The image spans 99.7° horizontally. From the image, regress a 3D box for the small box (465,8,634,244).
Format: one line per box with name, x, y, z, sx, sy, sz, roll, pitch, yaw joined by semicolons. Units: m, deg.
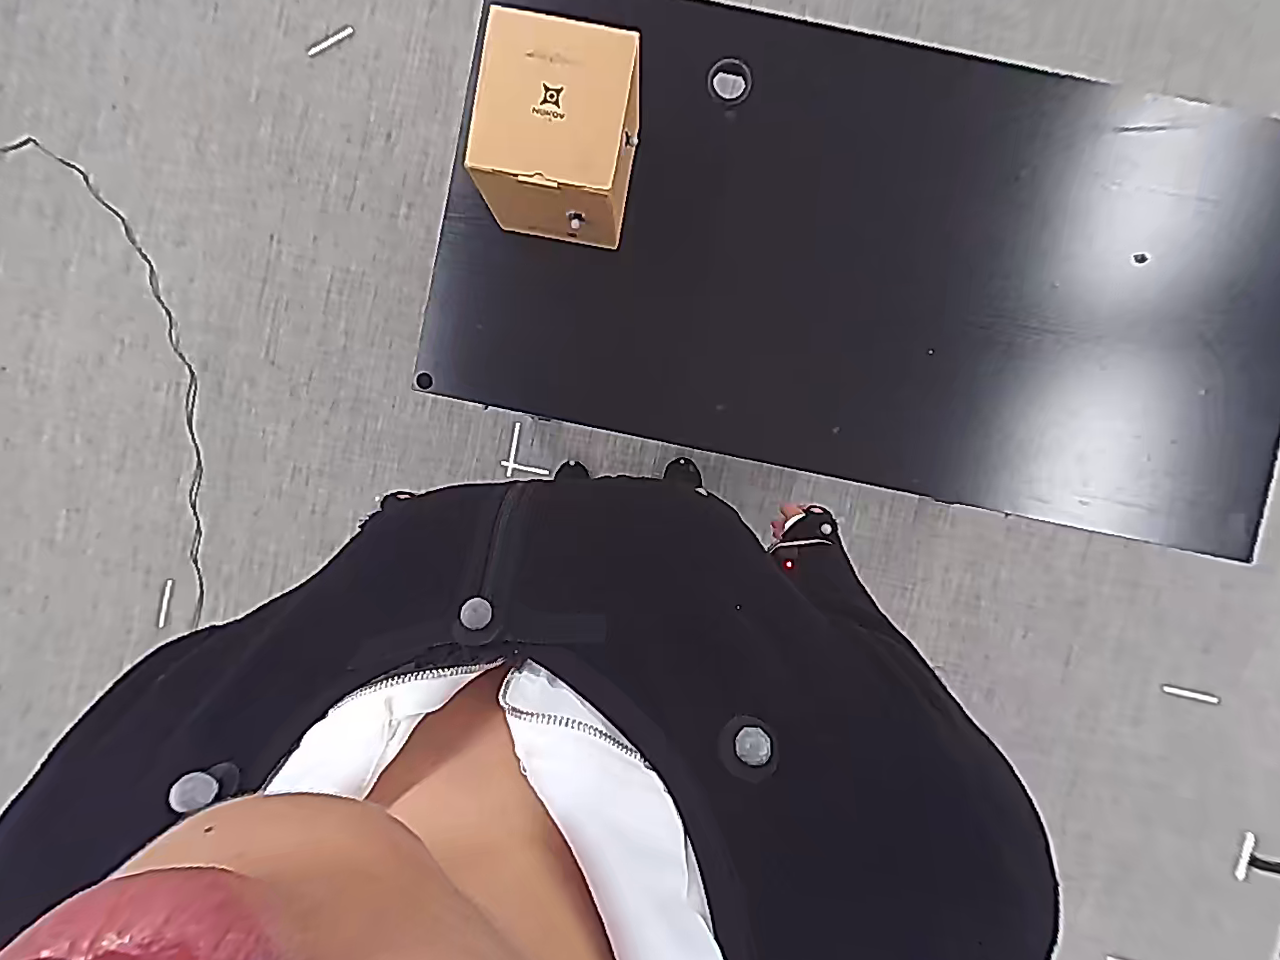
small box;-0.101;-0.420;0.673;0.168;0.176;0.179;10;92;-2
